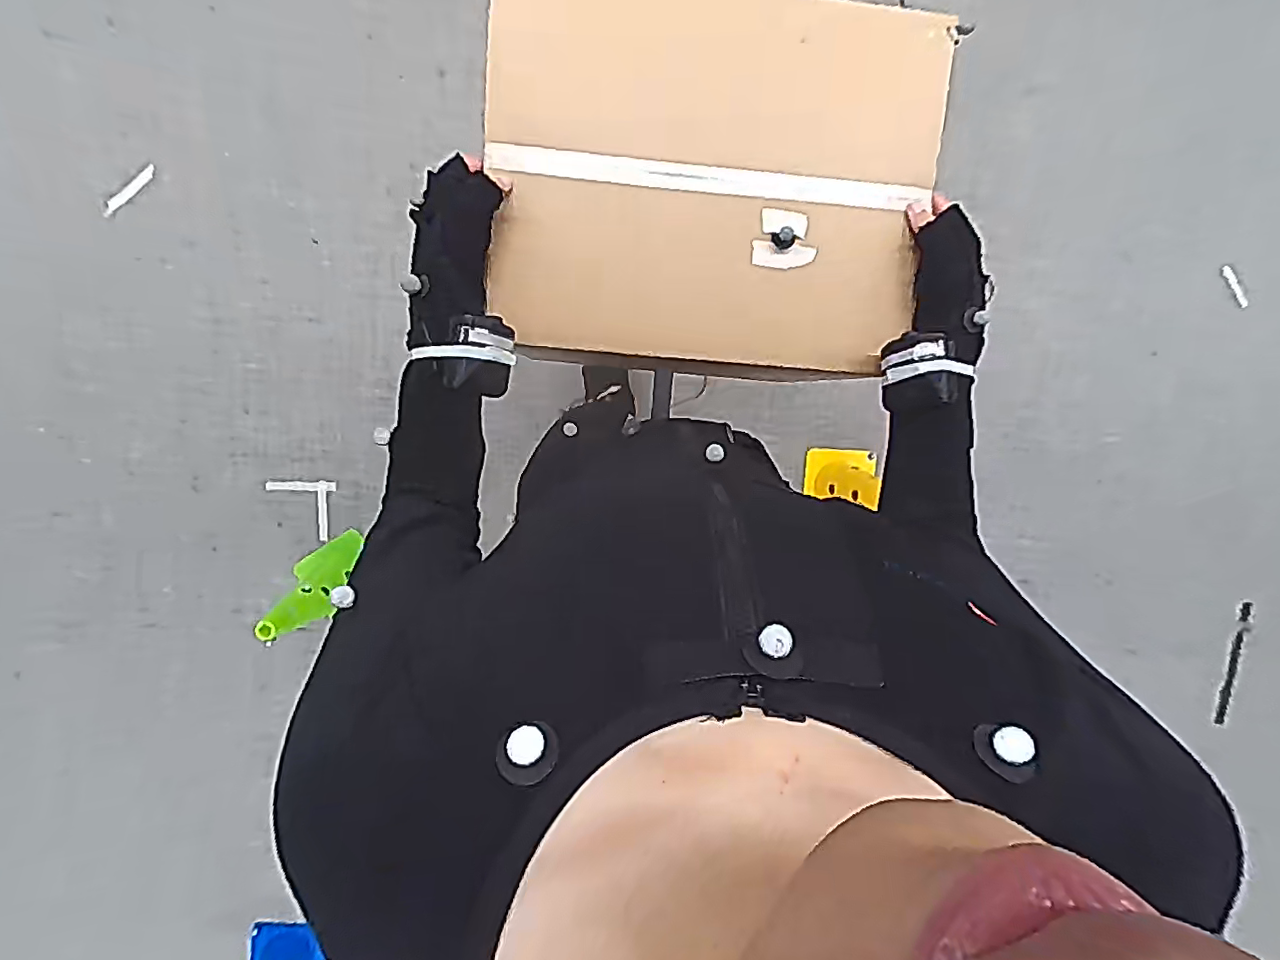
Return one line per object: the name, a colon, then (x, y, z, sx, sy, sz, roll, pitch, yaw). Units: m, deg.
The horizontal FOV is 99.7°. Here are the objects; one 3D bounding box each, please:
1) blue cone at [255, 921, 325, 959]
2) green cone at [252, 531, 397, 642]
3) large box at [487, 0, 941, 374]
blue cone: (-0.999, 1.379, 1.395, 0.192, 0.380, 0.193, 7, 96, -4)
green cone: (-0.765, 0.280, 1.260, 0.202, 0.368, 0.200, -34, 97, 2)
large box: (0.053, -0.299, 0.636, 0.408, 0.320, 0.320, 4, 99, -5)
